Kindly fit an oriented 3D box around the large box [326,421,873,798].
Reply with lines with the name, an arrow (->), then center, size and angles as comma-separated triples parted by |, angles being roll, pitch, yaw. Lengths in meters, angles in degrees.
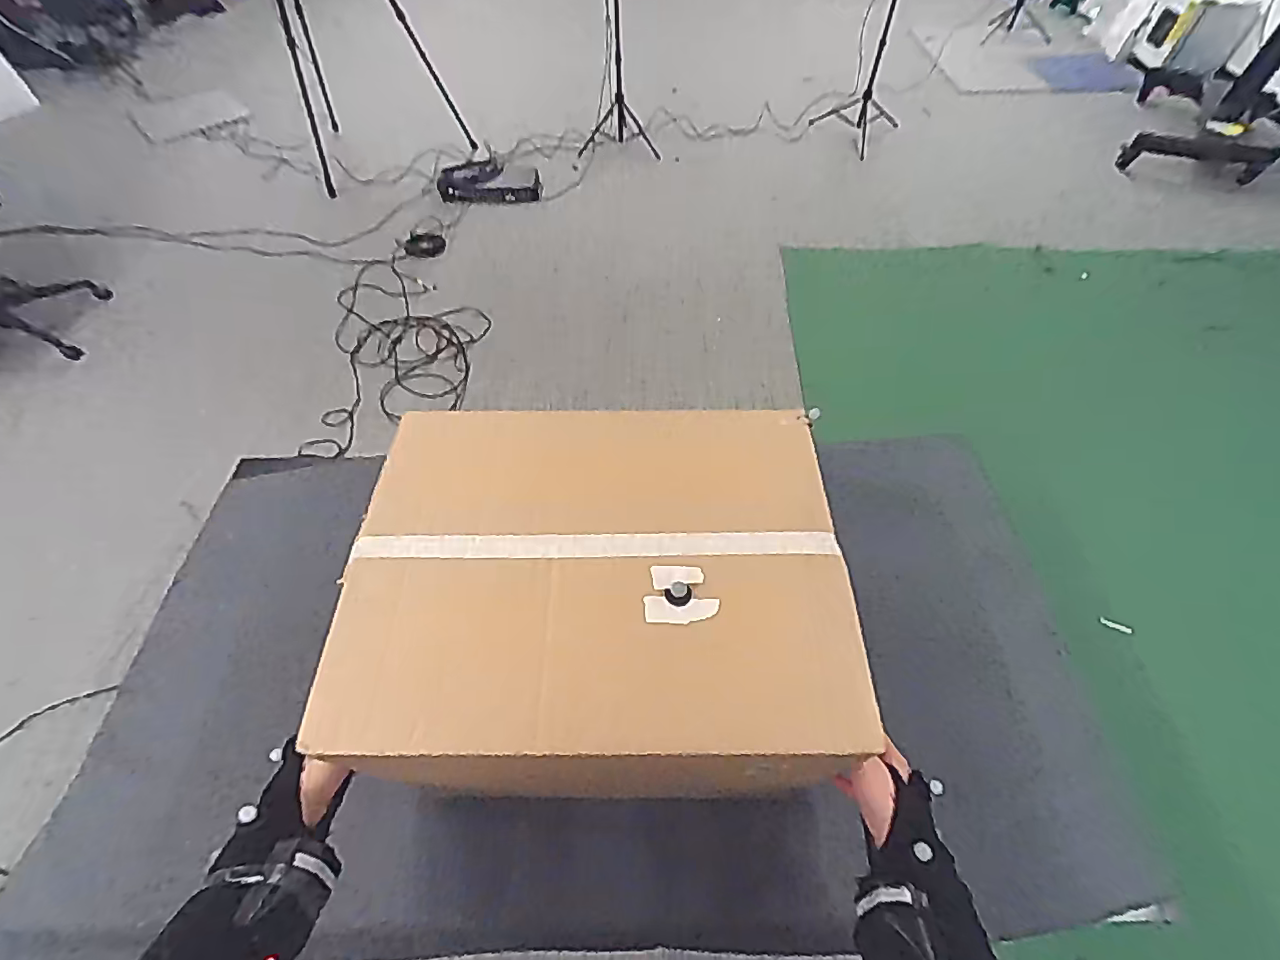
large box -> -0.031, 0.152, 0.592 | 0.408, 0.320, 0.320 | 0, 56, 0
